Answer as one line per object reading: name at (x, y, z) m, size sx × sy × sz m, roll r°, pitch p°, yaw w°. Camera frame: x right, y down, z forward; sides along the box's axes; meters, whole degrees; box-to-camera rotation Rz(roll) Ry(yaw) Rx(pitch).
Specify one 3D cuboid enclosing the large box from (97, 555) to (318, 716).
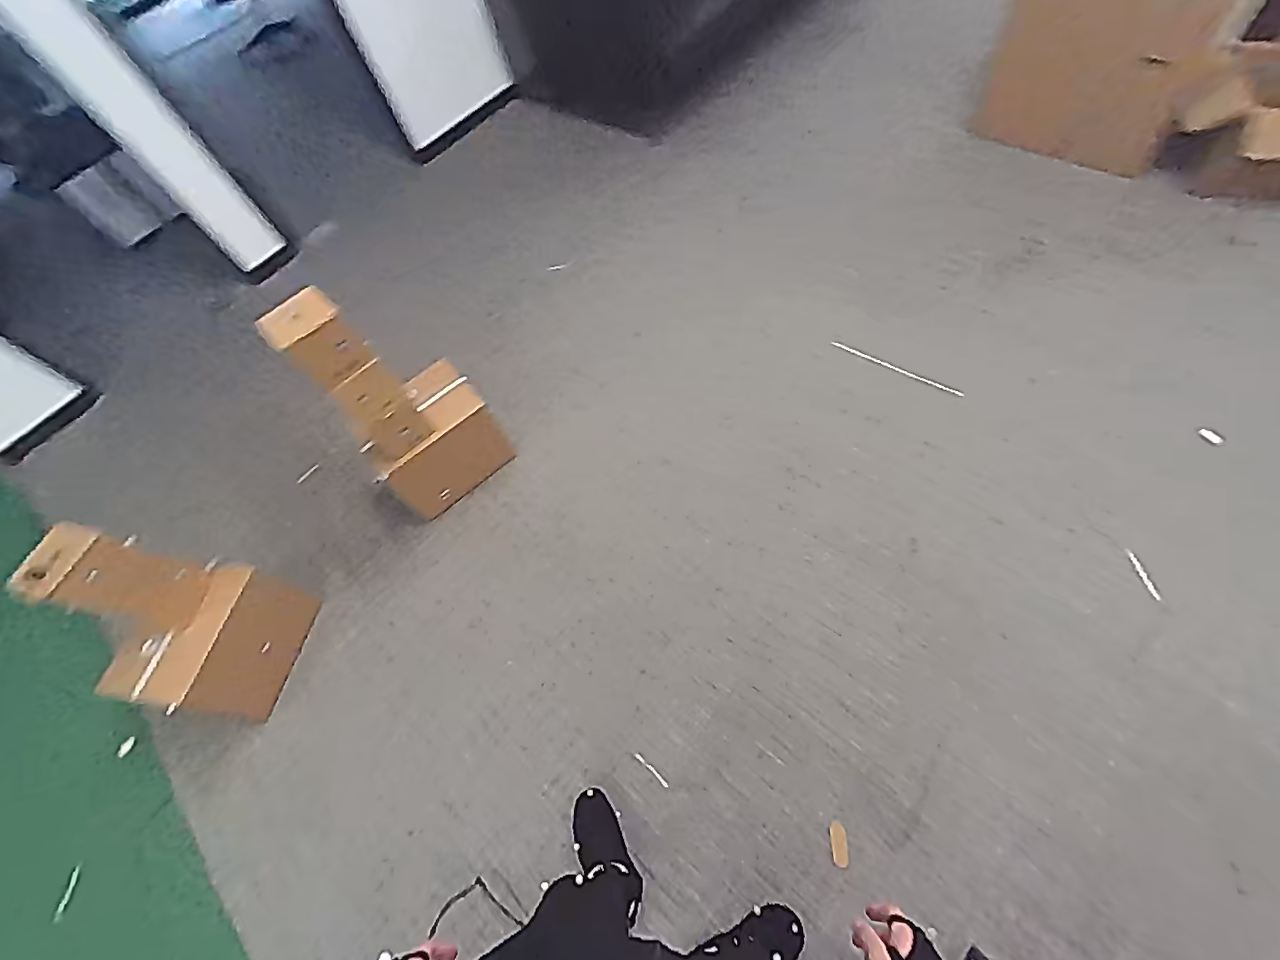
large box at (-1.306, 0.483, 1.683) m, size 0.320 × 0.320 × 0.408 m, roll 3°, pitch 62°, yaw 15°

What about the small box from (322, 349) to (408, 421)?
small box at (-0.809, -0.296, 1.558) m, size 0.168 × 0.176 × 0.179 m, roll -42°, pitch 60°, yaw -13°

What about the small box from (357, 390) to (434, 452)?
small box at (-0.784, -0.214, 1.696) m, size 0.168 × 0.176 × 0.179 m, roll -41°, pitch 62°, yaw -13°

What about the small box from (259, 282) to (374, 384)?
small box at (-0.843, -0.379, 1.423) m, size 0.168 × 0.176 × 0.179 m, roll -42°, pitch 59°, yaw -14°

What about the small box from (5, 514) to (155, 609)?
small box at (-1.414, 0.213, 1.380) m, size 0.168 × 0.176 × 0.179 m, roll 10°, pitch 62°, yaw 17°
